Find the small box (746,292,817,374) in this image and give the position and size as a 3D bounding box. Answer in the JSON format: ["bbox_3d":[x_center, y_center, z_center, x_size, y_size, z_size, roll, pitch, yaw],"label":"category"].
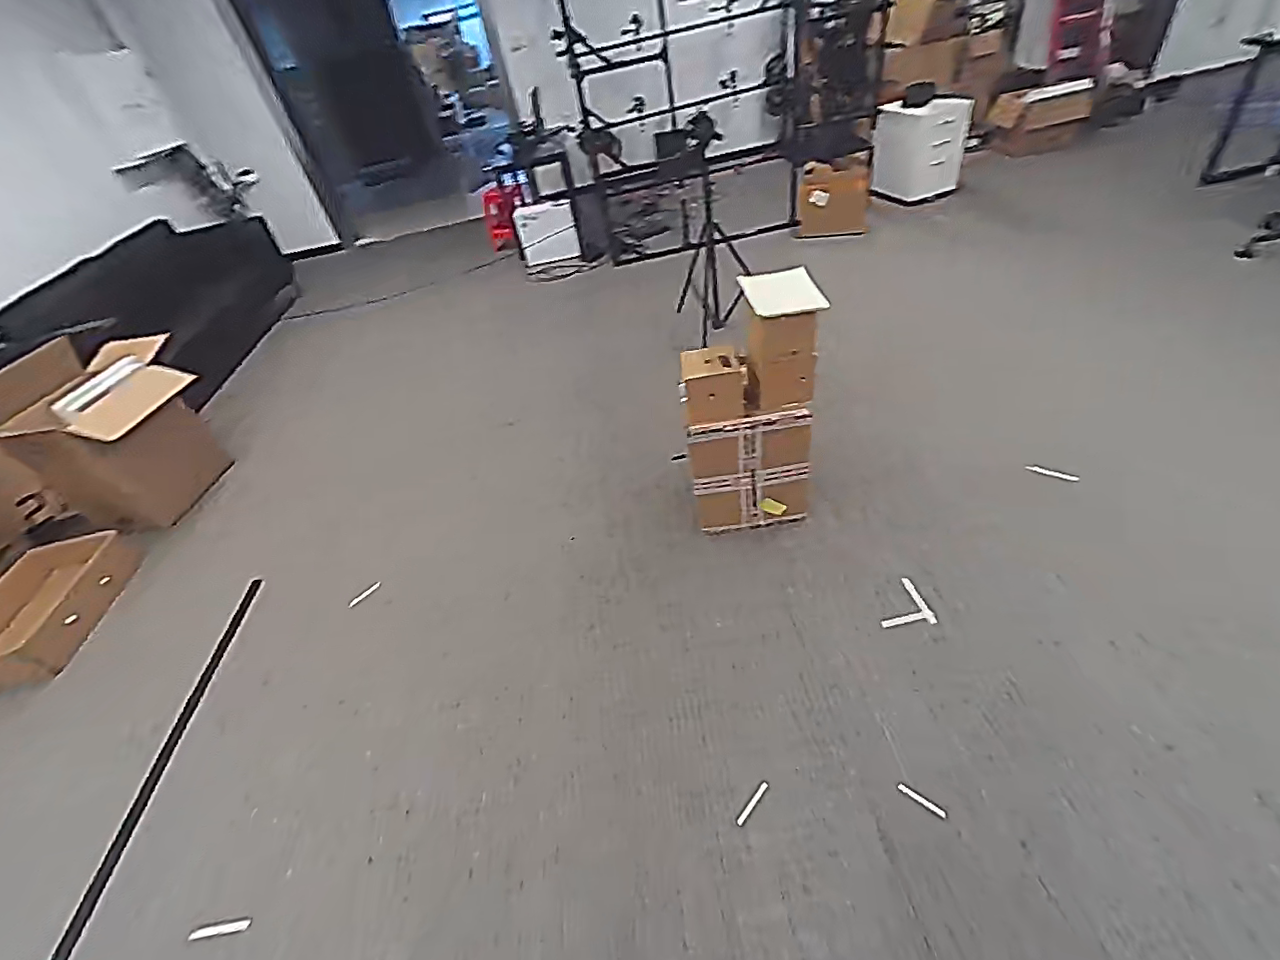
[{"bbox_3d":[0.418,-0.441,1.628,0.168,0.176,0.179,-10,42,1],"label":"small box"}]

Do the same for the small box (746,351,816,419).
[{"bbox_3d":[0.444,-0.318,1.731,0.179,0.176,0.168,-12,42,0],"label":"small box"}]

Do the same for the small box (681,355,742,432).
[{"bbox_3d":[0.231,-0.276,1.738,0.179,0.176,0.168,-8,43,8],"label":"small box"}]
